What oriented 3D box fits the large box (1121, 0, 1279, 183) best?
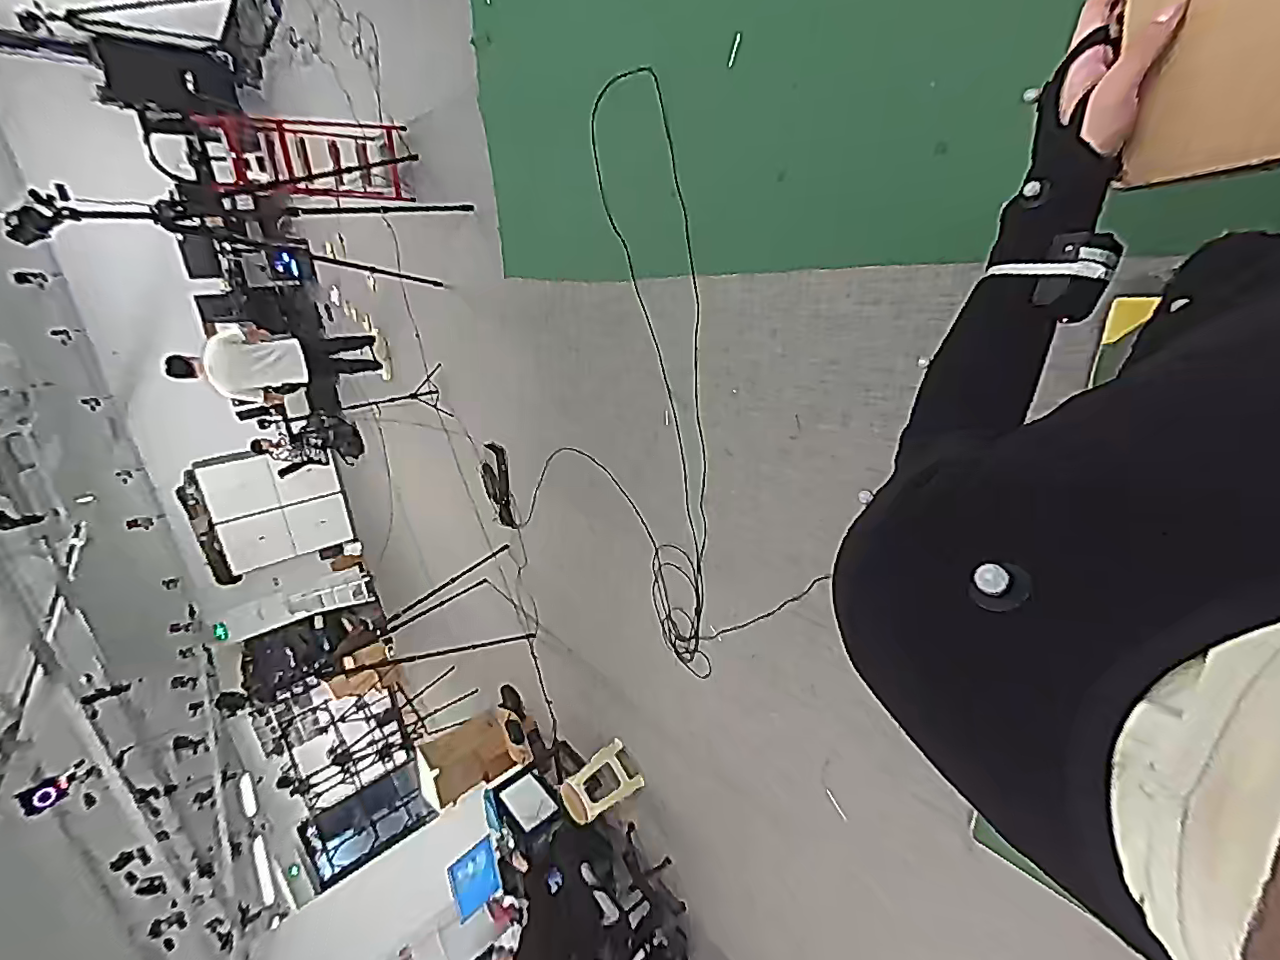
[{"bbox_3d":[0.610,-0.416,0.347,0.408,0.320,0.320,11,117,47],"label":"large box"}]
